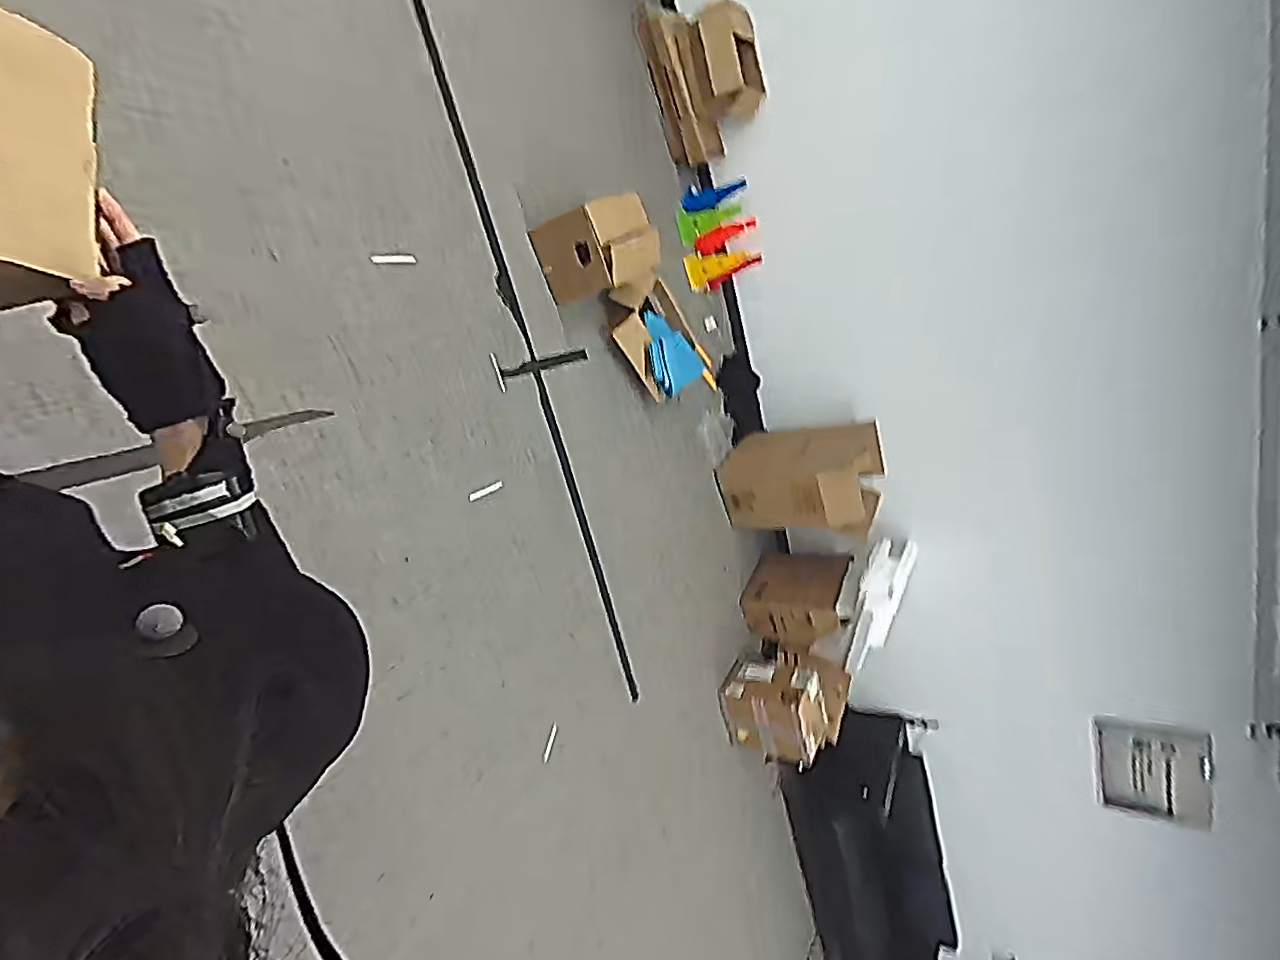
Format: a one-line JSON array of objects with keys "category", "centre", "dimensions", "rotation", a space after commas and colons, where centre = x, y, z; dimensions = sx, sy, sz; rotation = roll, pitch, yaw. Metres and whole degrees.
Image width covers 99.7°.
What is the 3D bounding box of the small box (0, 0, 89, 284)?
[{"category": "small box", "centre": [-0.492, -0.223, 0.319], "dimensions": [0.179, 0.176, 0.168], "rotation": [-4, 90, -74]}]
